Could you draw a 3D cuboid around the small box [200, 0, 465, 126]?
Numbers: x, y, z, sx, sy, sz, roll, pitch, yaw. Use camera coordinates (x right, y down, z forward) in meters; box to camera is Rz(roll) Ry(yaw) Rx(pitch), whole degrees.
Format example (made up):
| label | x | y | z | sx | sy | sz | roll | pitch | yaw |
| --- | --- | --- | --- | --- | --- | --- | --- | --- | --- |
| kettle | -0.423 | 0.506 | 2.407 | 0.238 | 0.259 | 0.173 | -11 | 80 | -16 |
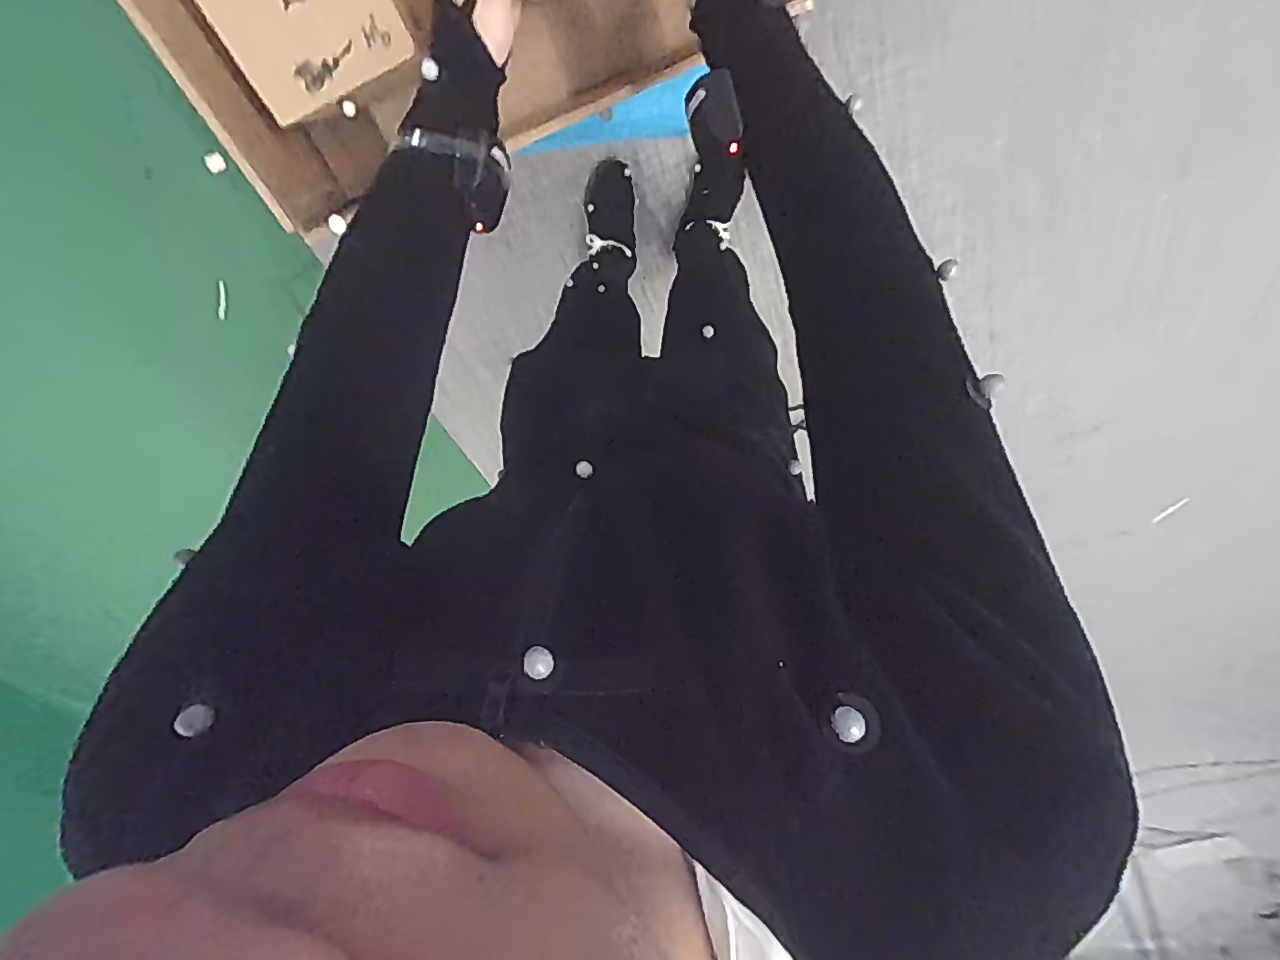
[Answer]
| label | x | y | z | sx | sy | sz | roll | pitch | yaw |
| --- | --- | --- | --- | --- | --- | --- | --- | --- | --- |
| small box | -0.306 | -0.483 | 0.535 | 0.168 | 0.176 | 0.179 | -15 | 125 | 15 |
